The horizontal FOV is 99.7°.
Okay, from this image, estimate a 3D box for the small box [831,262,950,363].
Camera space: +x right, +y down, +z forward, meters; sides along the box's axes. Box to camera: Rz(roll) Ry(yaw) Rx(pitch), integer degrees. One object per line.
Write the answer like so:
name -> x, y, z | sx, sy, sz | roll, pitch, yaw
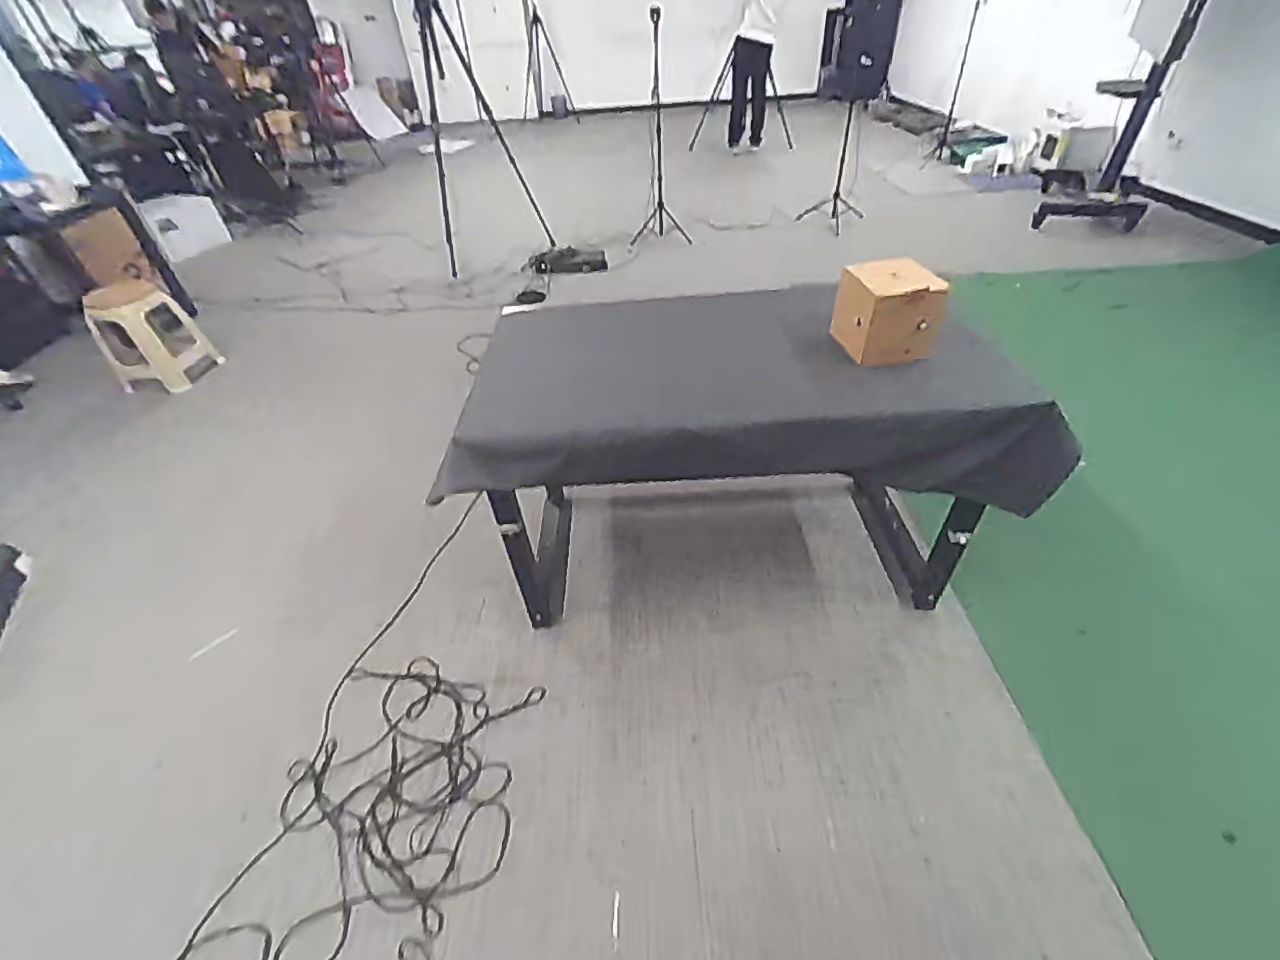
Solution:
small box -> 0.554, -0.374, 1.223 | 0.168, 0.176, 0.179 | -7, 40, -5
